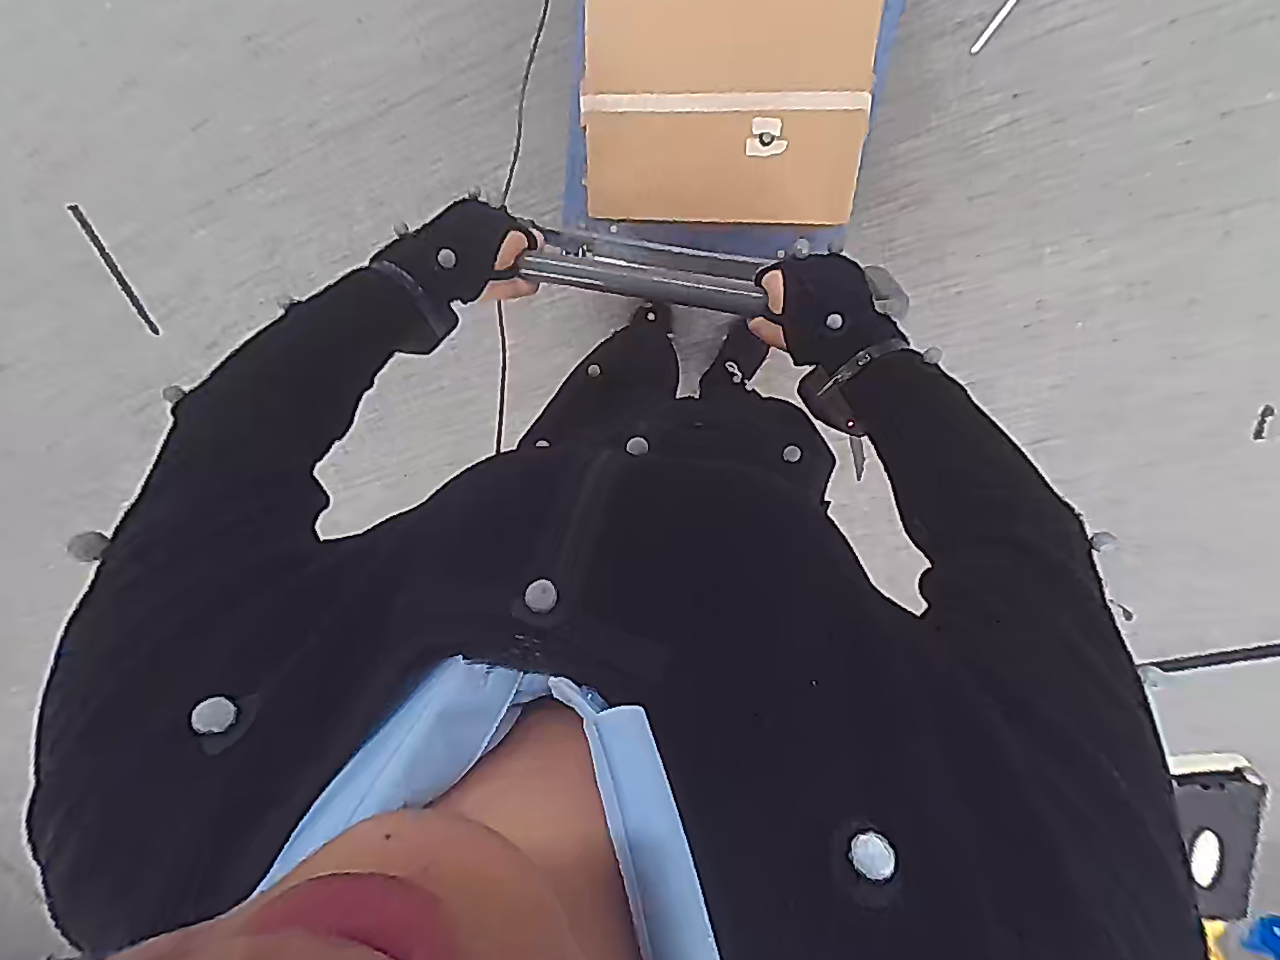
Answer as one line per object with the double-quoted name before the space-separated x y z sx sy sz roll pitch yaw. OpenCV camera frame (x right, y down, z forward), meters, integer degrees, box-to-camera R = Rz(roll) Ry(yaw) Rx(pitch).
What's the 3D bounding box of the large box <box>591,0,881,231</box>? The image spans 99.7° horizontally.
"large box" 0.144 -0.607 0.928 0.408 0.320 0.320 3 114 6
